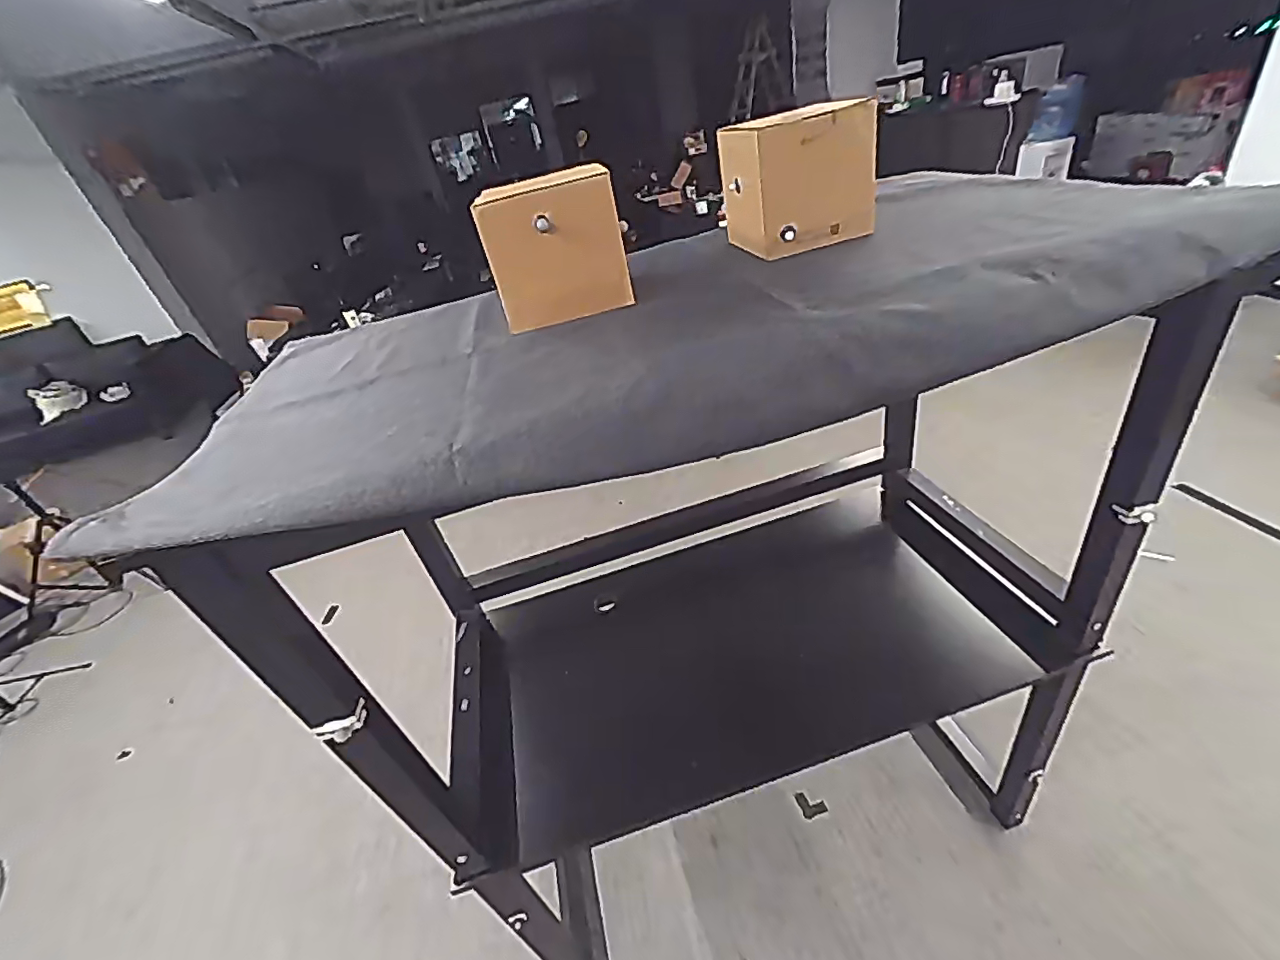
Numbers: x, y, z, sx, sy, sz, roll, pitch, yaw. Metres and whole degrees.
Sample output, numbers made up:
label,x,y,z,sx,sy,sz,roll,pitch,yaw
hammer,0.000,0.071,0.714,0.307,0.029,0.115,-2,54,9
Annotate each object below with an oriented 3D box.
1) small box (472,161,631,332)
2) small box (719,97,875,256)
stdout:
label,x,y,z,sx,sy,sz,roll,pitch,yaw
small box,-0.115,-0.329,0.761,0.179,0.176,0.168,-15,34,-1
small box,0.229,-0.447,0.806,0.168,0.176,0.179,-15,34,-3
